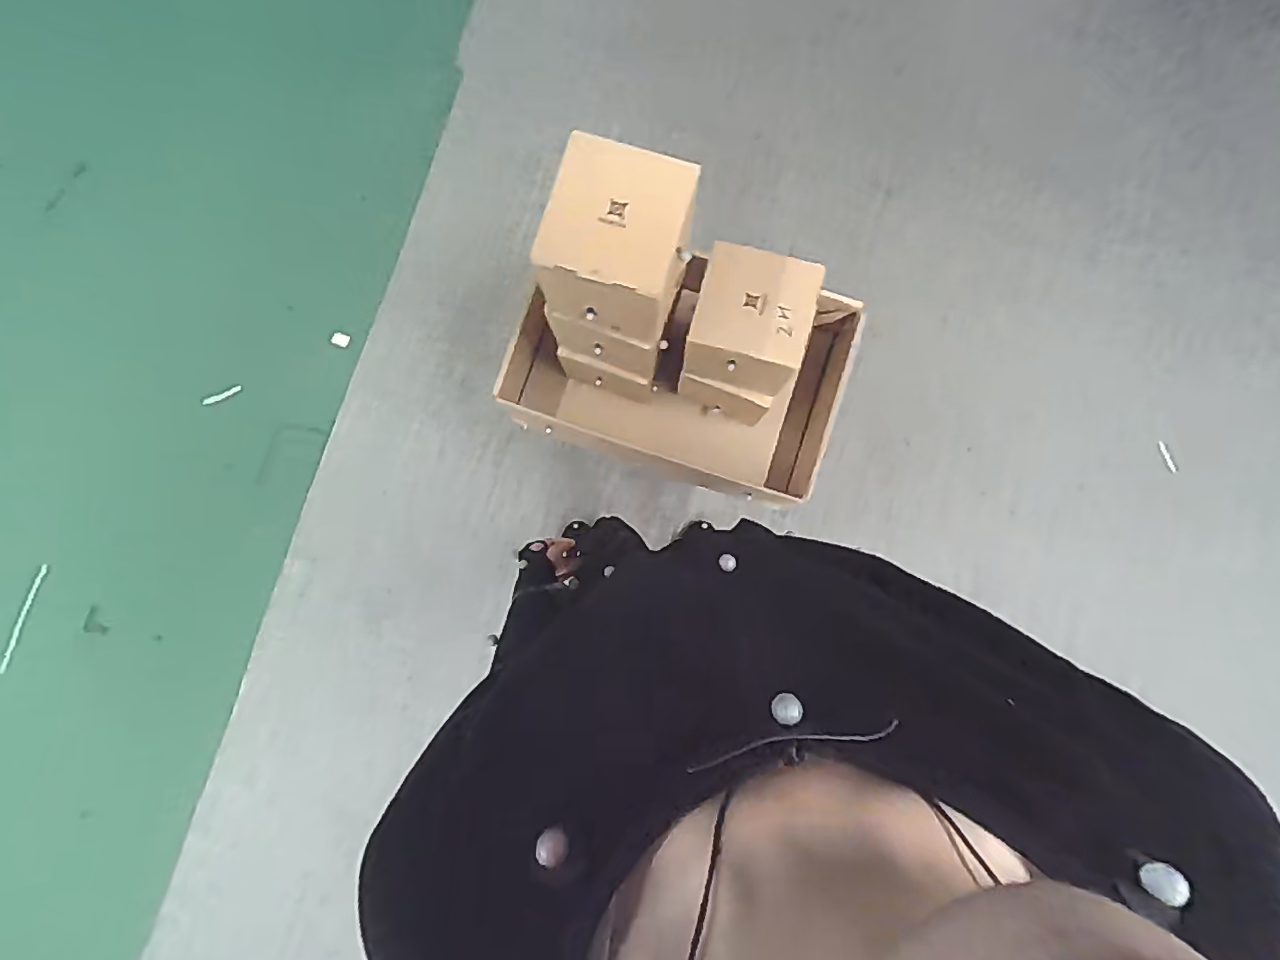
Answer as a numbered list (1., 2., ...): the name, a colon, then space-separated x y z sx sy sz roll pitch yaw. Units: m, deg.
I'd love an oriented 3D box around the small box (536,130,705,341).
1. small box: -0.023 -0.315 0.729 0.168 0.176 0.179 17 86 2
